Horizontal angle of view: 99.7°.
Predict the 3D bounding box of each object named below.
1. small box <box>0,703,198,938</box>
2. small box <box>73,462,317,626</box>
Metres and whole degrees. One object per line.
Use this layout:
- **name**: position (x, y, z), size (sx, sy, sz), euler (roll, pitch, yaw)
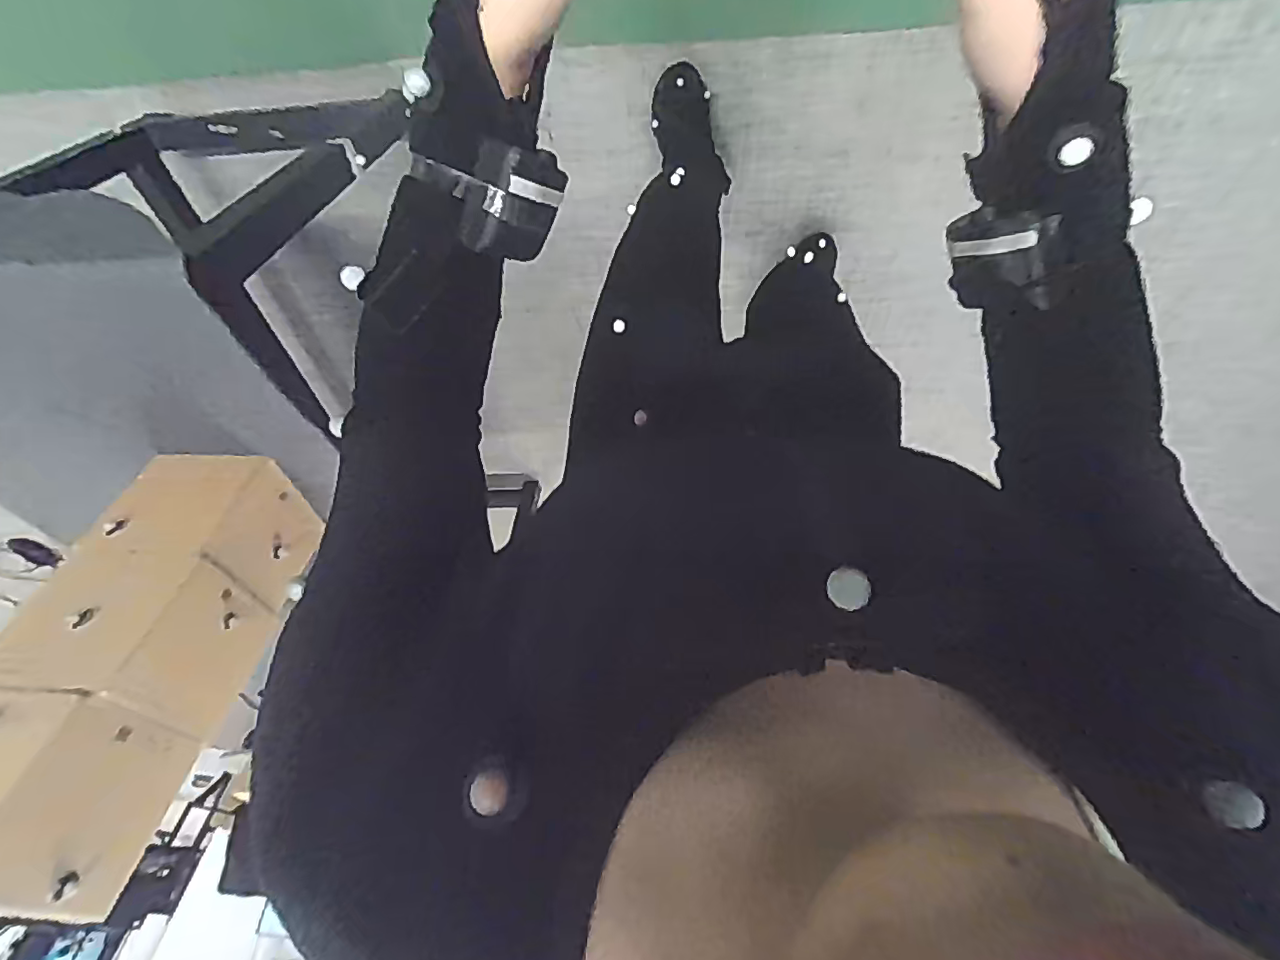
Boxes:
- **small box**: position (-0.611, 0.333, 0.537), size (0.179, 0.176, 0.168), euler (-2, 138, 9)
- **small box**: position (-0.590, 0.087, 0.755), size (0.179, 0.176, 0.168), euler (0, 138, 6)
